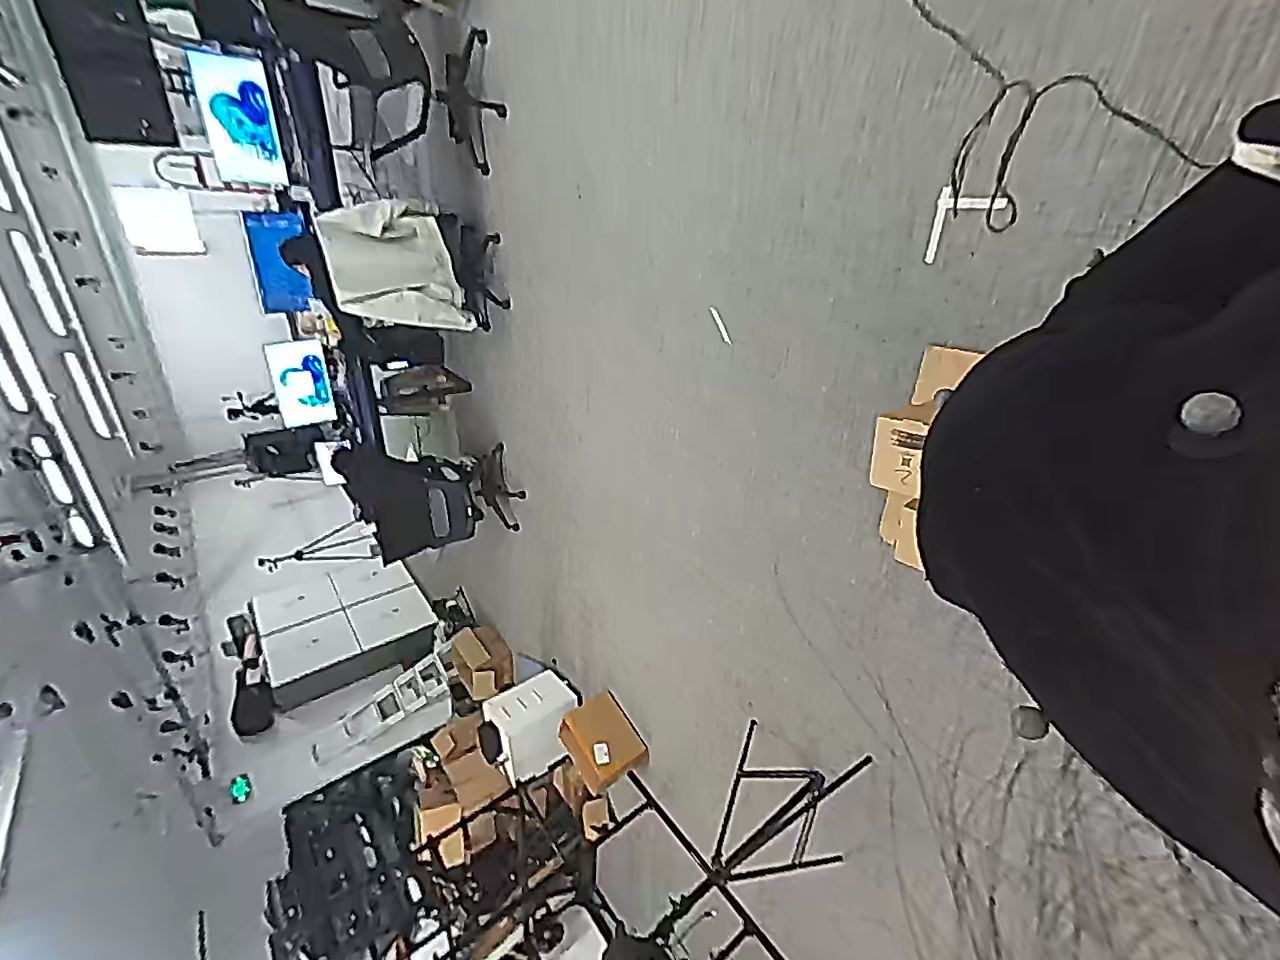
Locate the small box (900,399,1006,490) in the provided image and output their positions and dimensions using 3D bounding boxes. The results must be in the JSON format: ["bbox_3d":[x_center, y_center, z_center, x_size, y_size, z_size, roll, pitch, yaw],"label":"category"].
[{"bbox_3d":[0.789,-0.099,1.363,0.168,0.176,0.179,25,124,46],"label":"small box"}]

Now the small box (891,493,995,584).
[{"bbox_3d":[0.809,0.146,1.447,0.179,0.176,0.168,24,124,46],"label":"small box"}]
